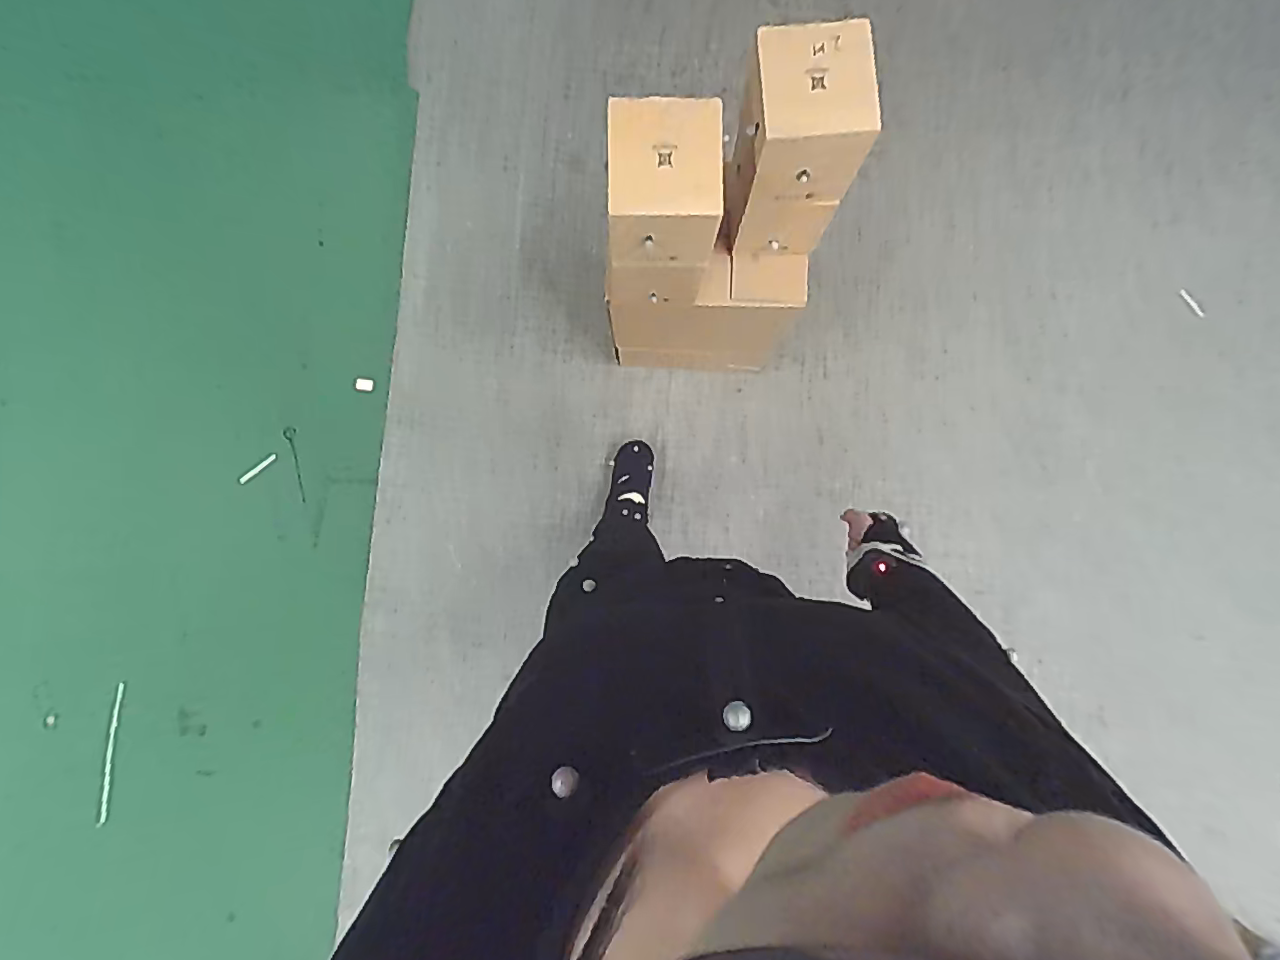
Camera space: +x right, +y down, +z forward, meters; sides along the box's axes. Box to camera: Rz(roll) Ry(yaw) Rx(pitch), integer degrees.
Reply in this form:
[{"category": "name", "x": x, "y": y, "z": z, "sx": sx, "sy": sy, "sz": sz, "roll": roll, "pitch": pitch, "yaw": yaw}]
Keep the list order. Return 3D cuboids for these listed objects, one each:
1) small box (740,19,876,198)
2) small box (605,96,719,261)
[{"category": "small box", "x": 0.255, "y": -0.572, "z": 0.858, "sx": 0.168, "sy": 0.176, "sz": 0.179, "roll": -3, "pitch": 85, "yaw": 1}, {"category": "small box", "x": 0.032, "y": -0.462, "z": 0.853, "sx": 0.168, "sy": 0.176, "sz": 0.179, "roll": 0, "pitch": 88, "yaw": -1}]
